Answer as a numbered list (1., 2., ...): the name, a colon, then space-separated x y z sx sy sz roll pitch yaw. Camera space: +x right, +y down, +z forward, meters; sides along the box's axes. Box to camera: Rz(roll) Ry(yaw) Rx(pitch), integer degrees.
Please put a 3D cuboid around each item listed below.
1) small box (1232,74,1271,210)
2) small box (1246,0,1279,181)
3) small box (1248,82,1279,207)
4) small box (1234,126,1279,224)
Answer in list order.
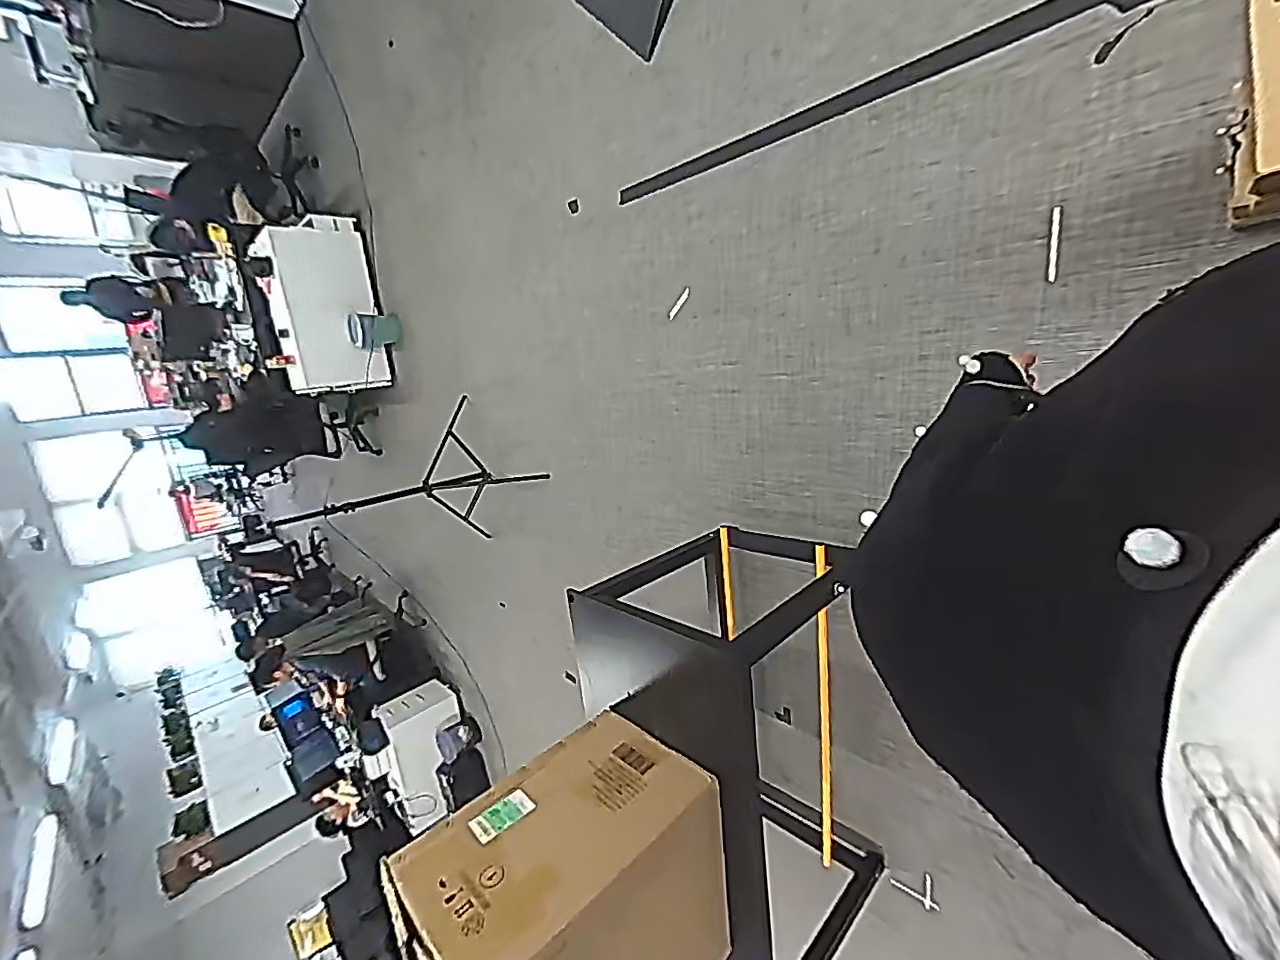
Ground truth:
1. small box: 0.944 -0.485 0.738 0.179 0.176 0.168 1 105 47
2. small box: 0.711 -0.409 0.520 0.168 0.176 0.179 -3 103 49
3. small box: 0.832 -0.442 0.625 0.168 0.176 0.179 -4 101 49
4. small box: 1.058 -0.523 0.850 0.168 0.176 0.179 -2 104 49
